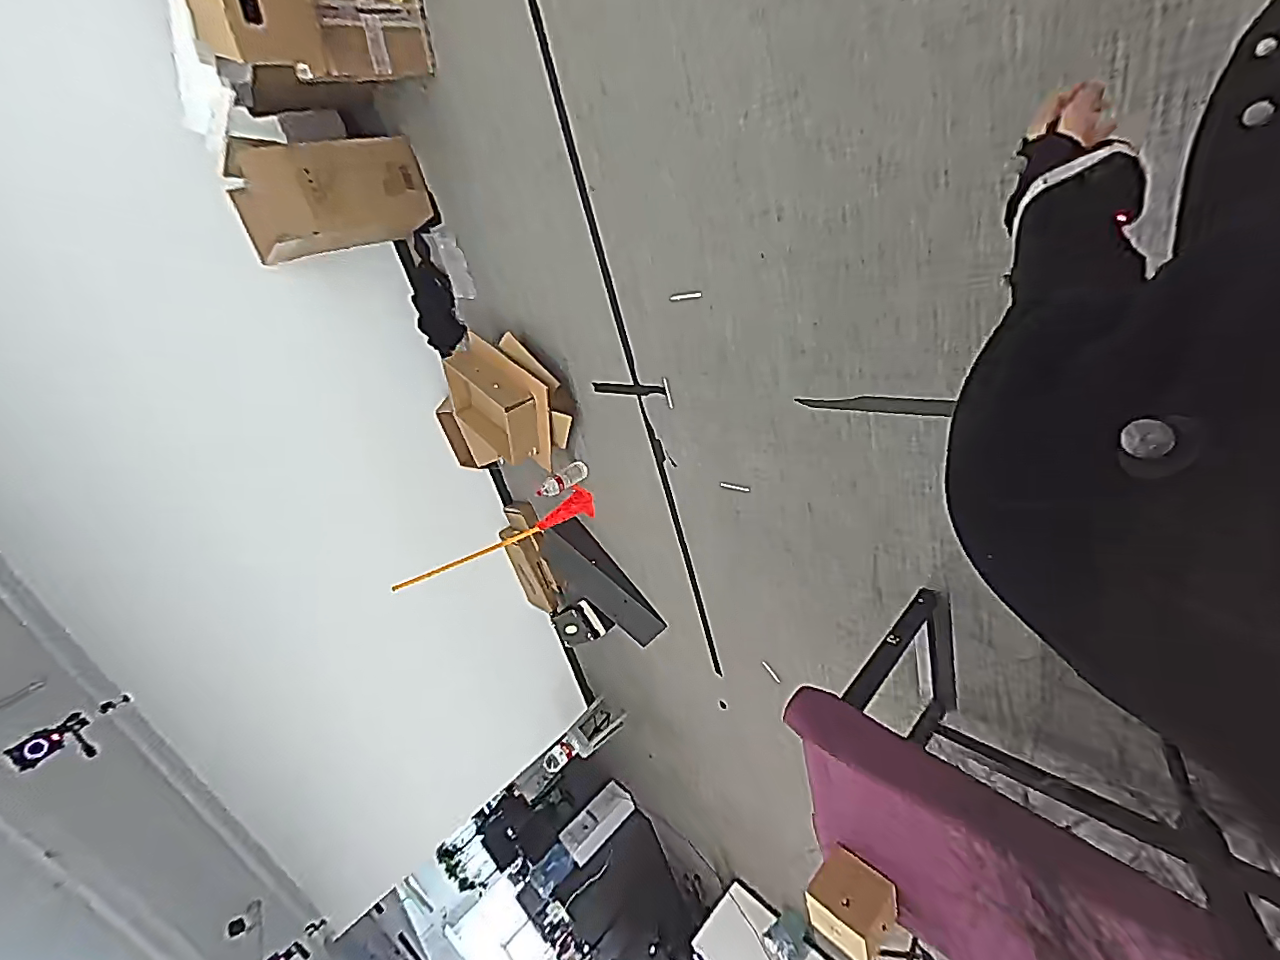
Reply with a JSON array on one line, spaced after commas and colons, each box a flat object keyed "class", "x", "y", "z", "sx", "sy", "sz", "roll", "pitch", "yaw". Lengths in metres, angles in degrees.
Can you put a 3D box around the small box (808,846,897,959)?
[{"class": "small box", "x": 0.593, "y": 1.169, "z": 1.491, "sx": 0.179, "sy": 0.176, "sz": 0.168, "roll": 15, "pitch": 128, "yaw": 47}]
